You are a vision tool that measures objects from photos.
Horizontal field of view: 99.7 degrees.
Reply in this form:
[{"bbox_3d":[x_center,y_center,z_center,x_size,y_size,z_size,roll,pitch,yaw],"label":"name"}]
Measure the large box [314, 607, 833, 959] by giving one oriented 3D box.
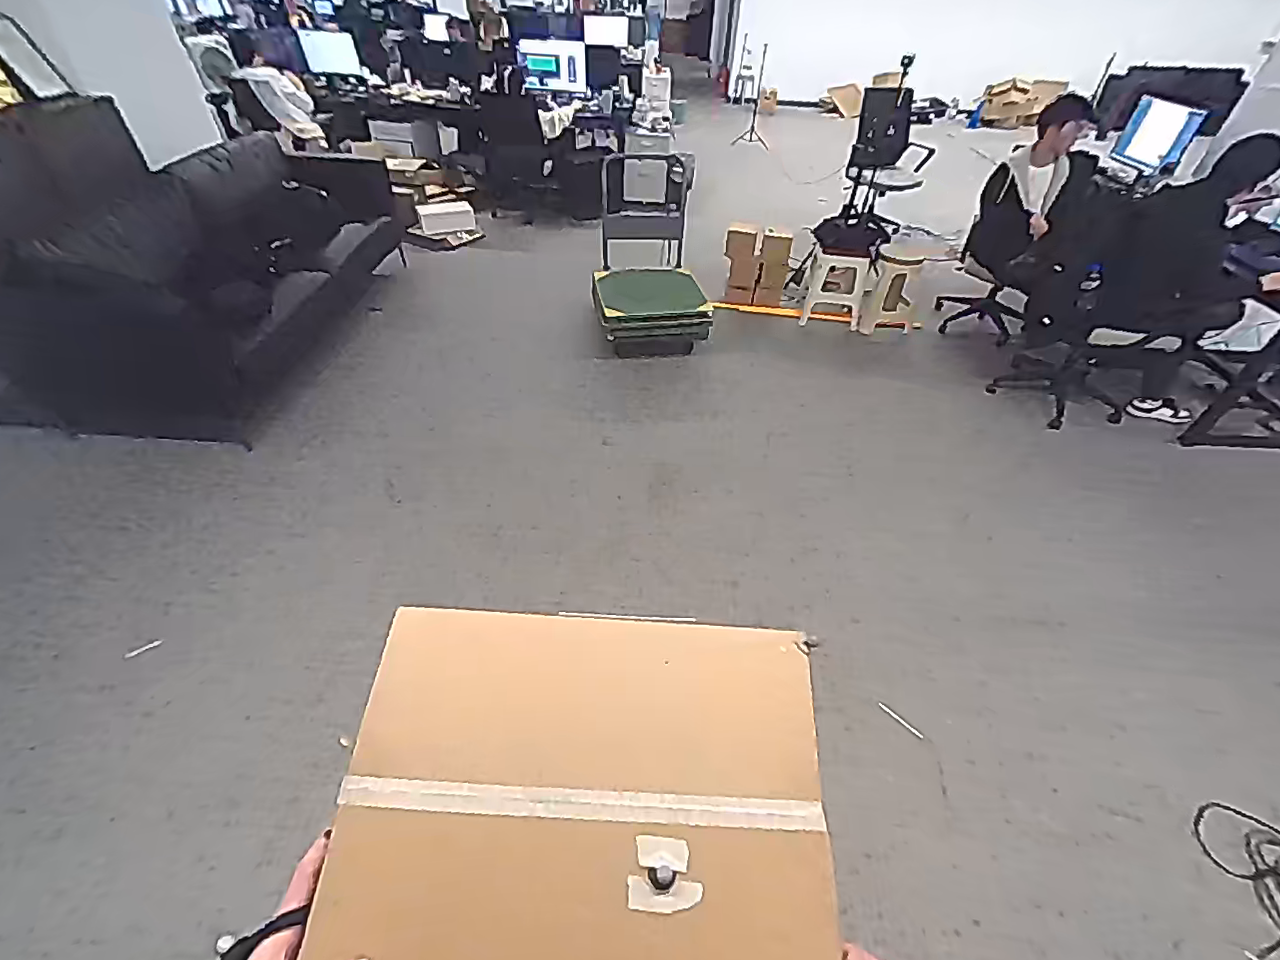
[{"bbox_3d":[-0.052,0.347,0.598,0.408,0.320,0.320,4,60,-1],"label":"large box"}]
